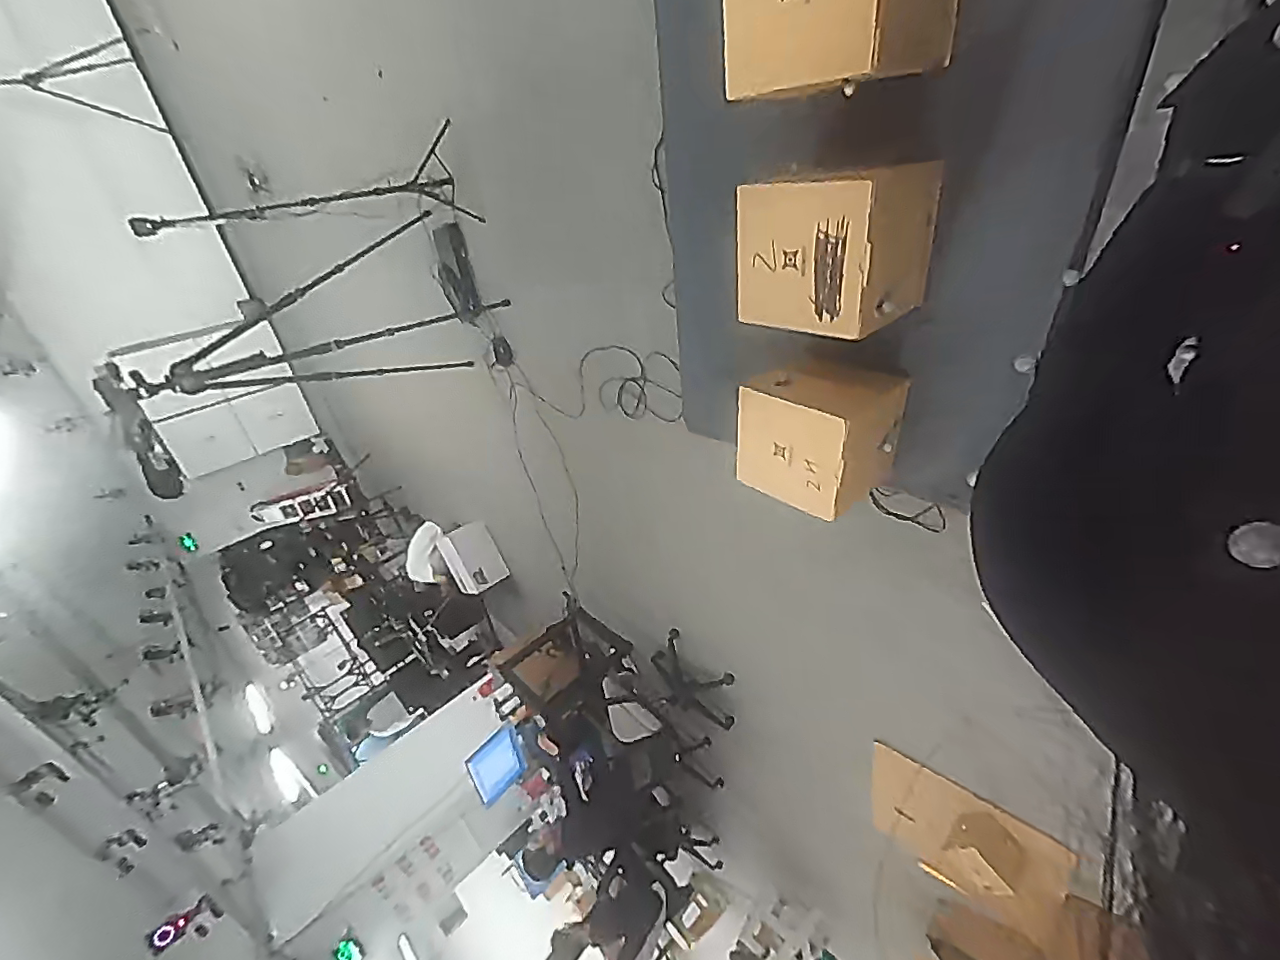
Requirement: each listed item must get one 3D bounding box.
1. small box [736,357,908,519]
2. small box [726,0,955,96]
[{"bbox_3d":[0.268,-0.074,0.815,0.179,0.176,0.168,28,136,40],"label":"small box"},{"bbox_3d":[0.208,-0.511,0.563,0.179,0.176,0.168,23,132,41],"label":"small box"}]
